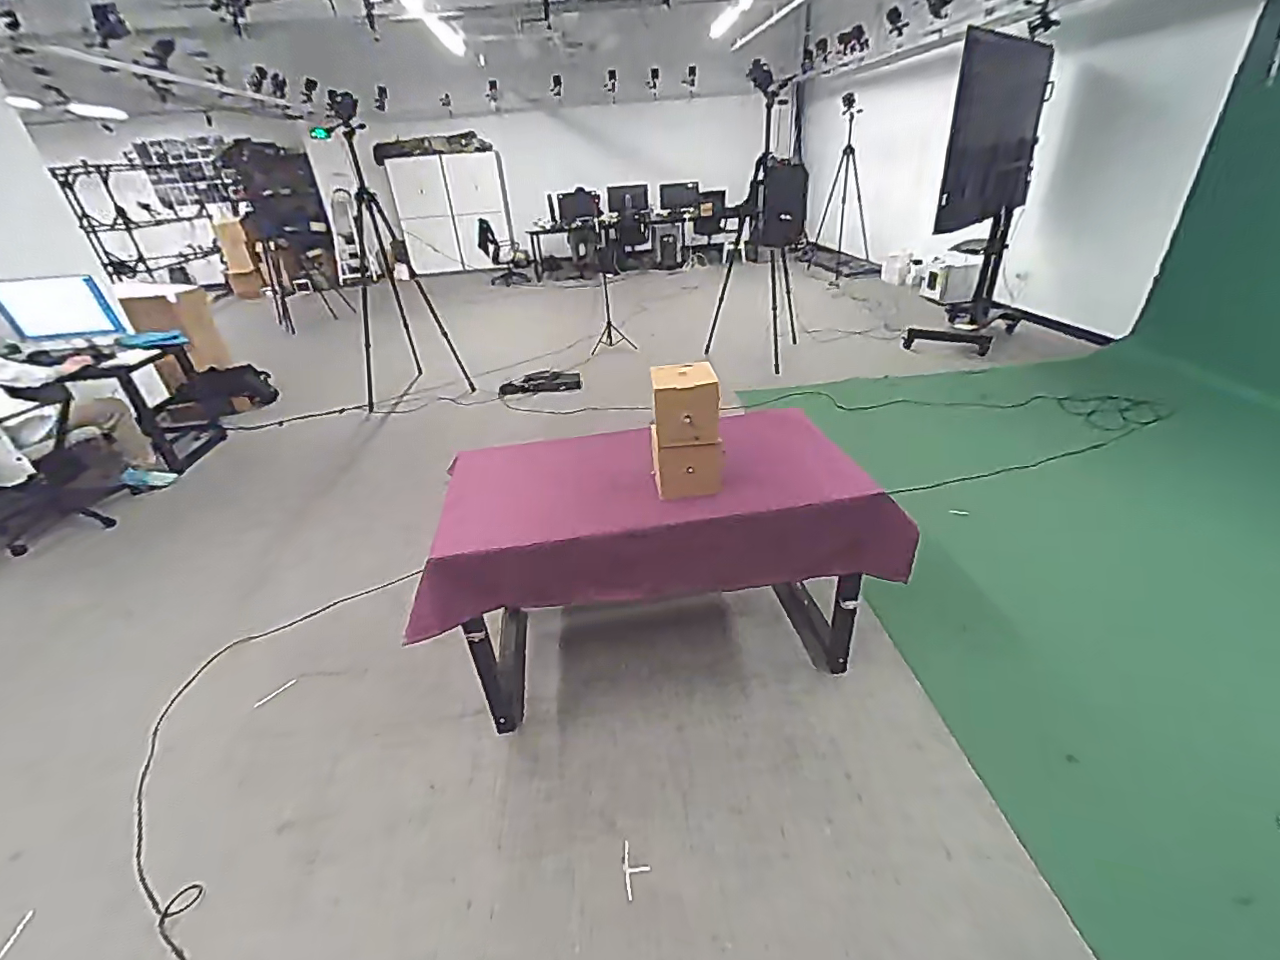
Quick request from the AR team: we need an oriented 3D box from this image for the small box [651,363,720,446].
[{"bbox_3d":[0.120,-0.199,1.448,0.168,0.176,0.179,-5,31,0],"label":"small box"}]
